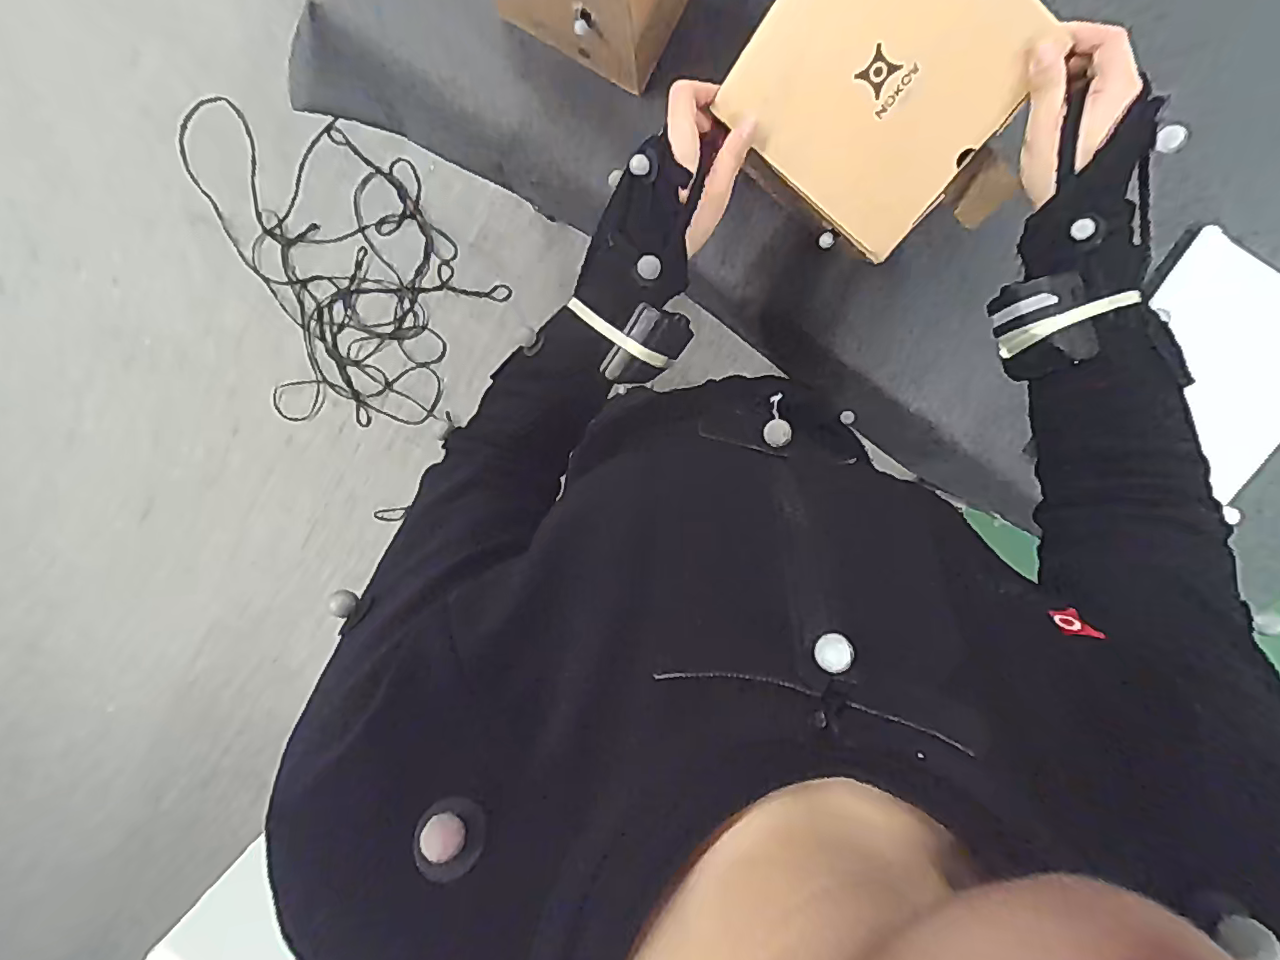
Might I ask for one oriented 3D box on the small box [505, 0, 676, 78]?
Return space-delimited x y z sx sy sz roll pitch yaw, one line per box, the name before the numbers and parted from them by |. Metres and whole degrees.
small box | -0.039 -0.489 0.445 0.168 0.176 0.179 29 100 -3
